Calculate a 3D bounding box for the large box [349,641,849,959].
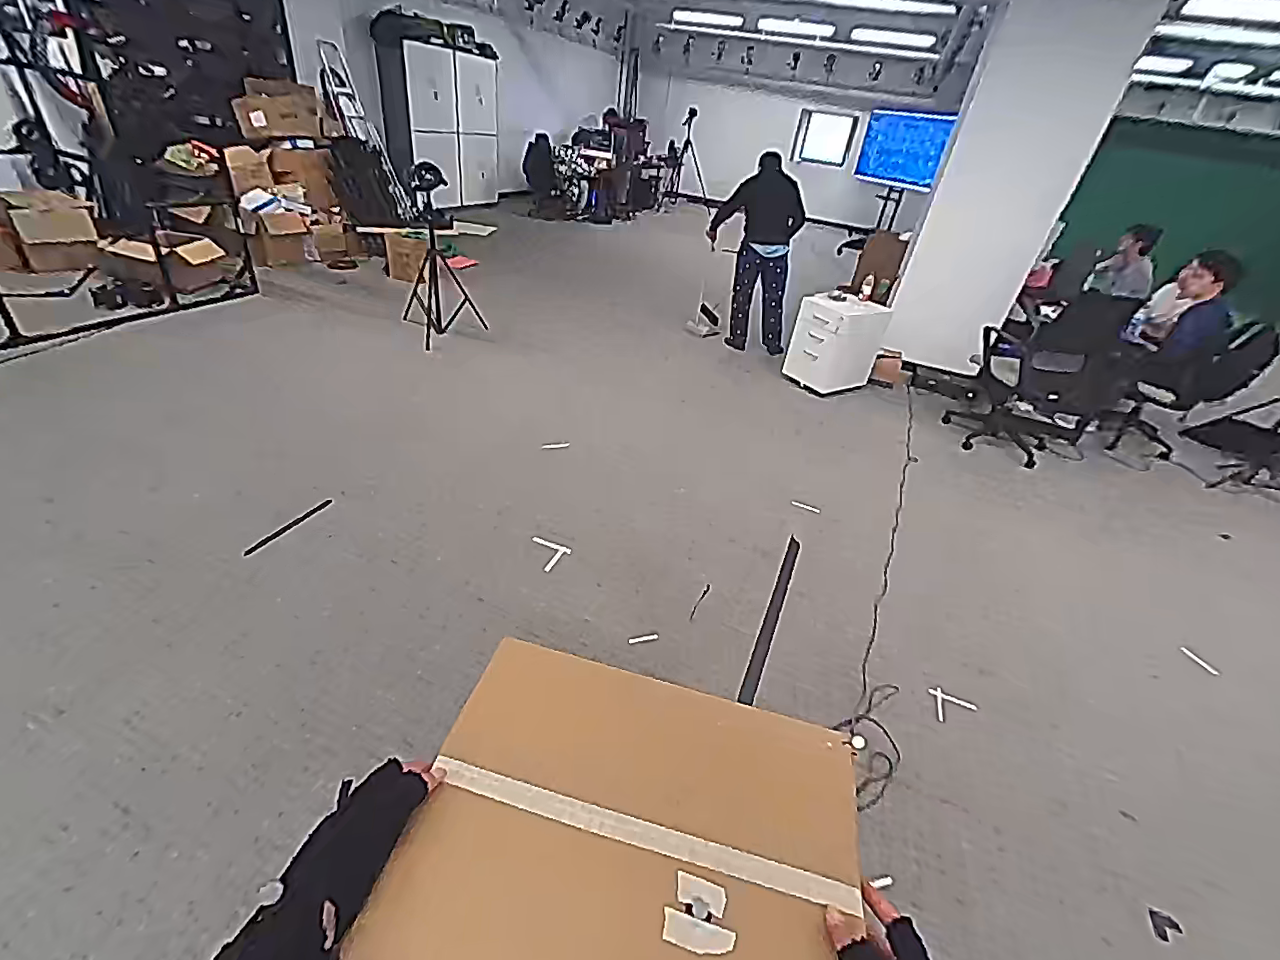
[{"bbox_3d":[-0.021,0.441,0.605,0.408,0.320,0.320,13,40,8],"label":"large box"}]
